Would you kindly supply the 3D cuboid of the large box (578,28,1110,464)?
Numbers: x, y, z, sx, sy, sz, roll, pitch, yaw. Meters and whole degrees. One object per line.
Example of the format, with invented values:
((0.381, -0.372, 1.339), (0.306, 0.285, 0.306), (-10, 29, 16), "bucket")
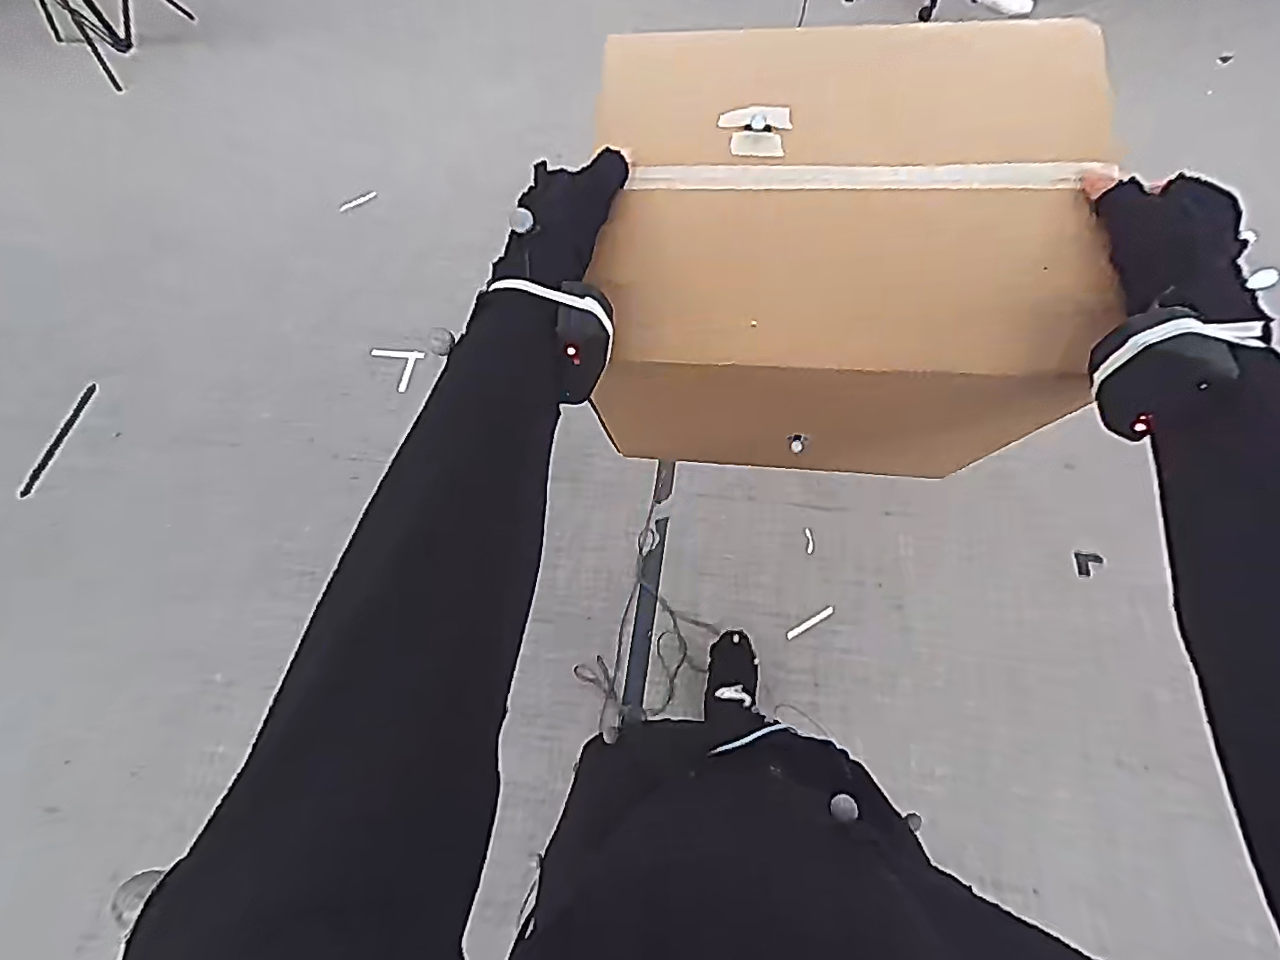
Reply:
((0.177, -0.206, 0.591), (0.408, 0.320, 0.320), (4, 77, 8), "large box")
